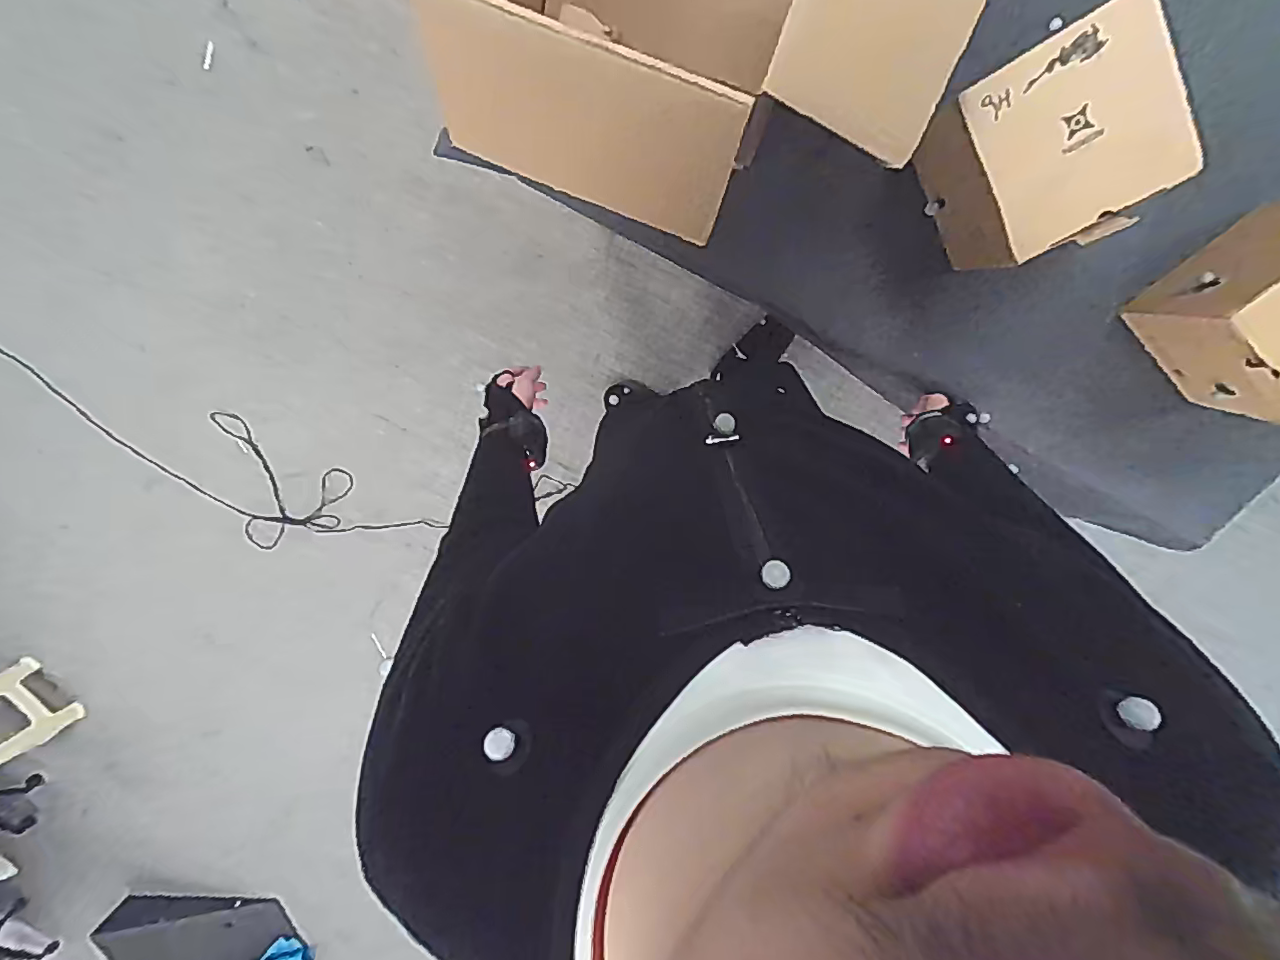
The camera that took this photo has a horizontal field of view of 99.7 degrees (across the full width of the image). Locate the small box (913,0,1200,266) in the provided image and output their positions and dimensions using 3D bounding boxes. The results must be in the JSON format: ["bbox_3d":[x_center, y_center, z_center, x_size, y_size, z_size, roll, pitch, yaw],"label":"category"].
[{"bbox_3d":[0.428,-0.352,0.585,0.168,0.176,0.179,-25,104,16],"label":"small box"}]

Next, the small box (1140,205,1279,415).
[{"bbox_3d":[0.715,-0.185,0.592,0.168,0.176,0.179,44,110,-8],"label":"small box"}]
